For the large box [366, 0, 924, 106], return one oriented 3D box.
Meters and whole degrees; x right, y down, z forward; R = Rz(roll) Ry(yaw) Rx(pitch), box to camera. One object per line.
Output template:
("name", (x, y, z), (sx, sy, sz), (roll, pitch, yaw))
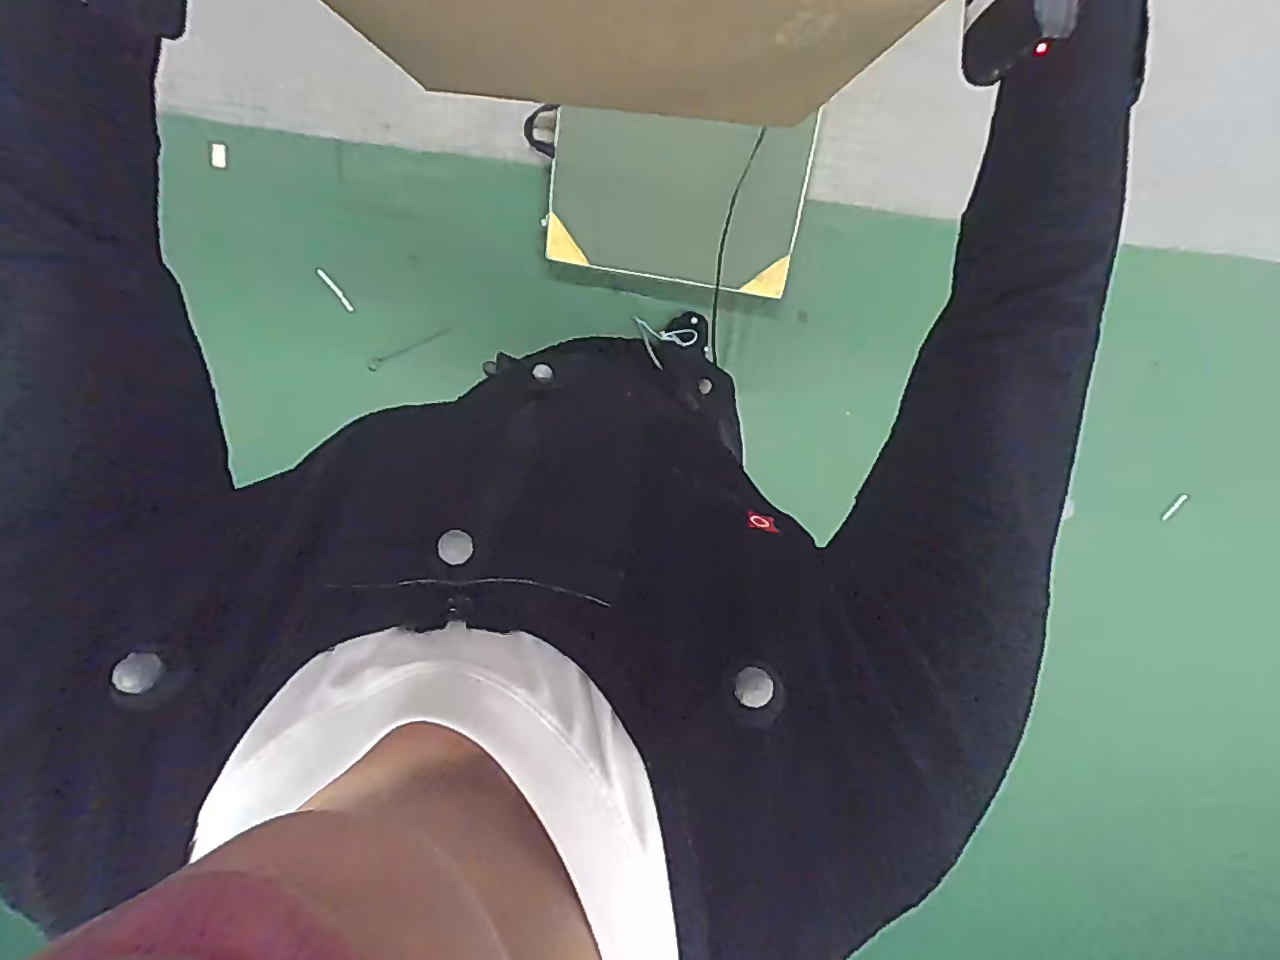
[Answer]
("large box", (-0.002, -0.495, 0.380), (0.408, 0.320, 0.320), (3, 113, -3))
